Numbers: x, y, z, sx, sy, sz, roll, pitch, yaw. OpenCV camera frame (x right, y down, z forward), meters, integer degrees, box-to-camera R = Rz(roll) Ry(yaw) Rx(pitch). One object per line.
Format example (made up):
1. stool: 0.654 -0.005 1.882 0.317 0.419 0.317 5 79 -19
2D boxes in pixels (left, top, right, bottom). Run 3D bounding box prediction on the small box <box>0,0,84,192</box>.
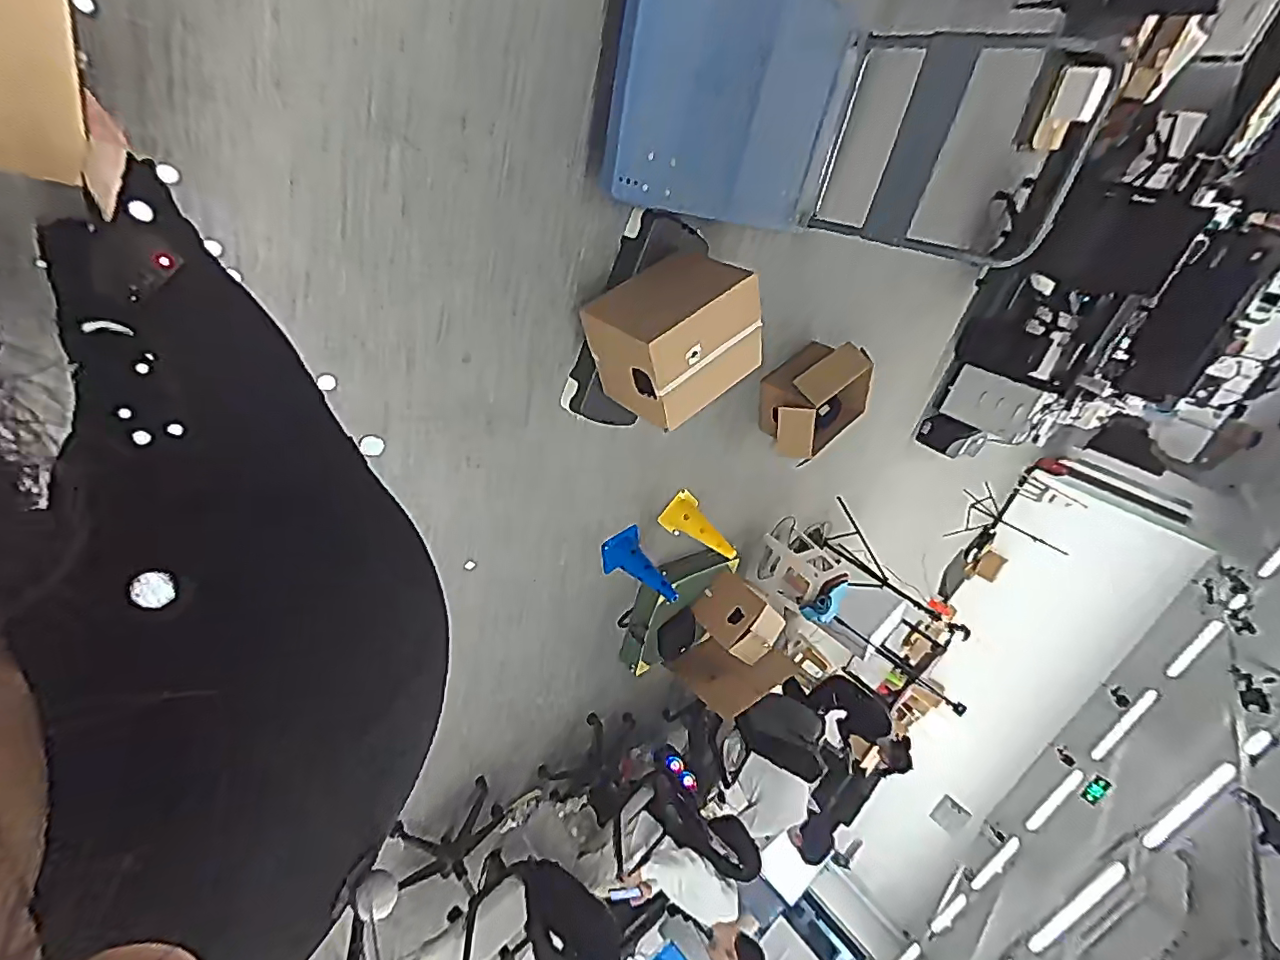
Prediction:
1. small box: -0.554 -0.351 0.416 0.168 0.176 0.179 -8 125 -44
